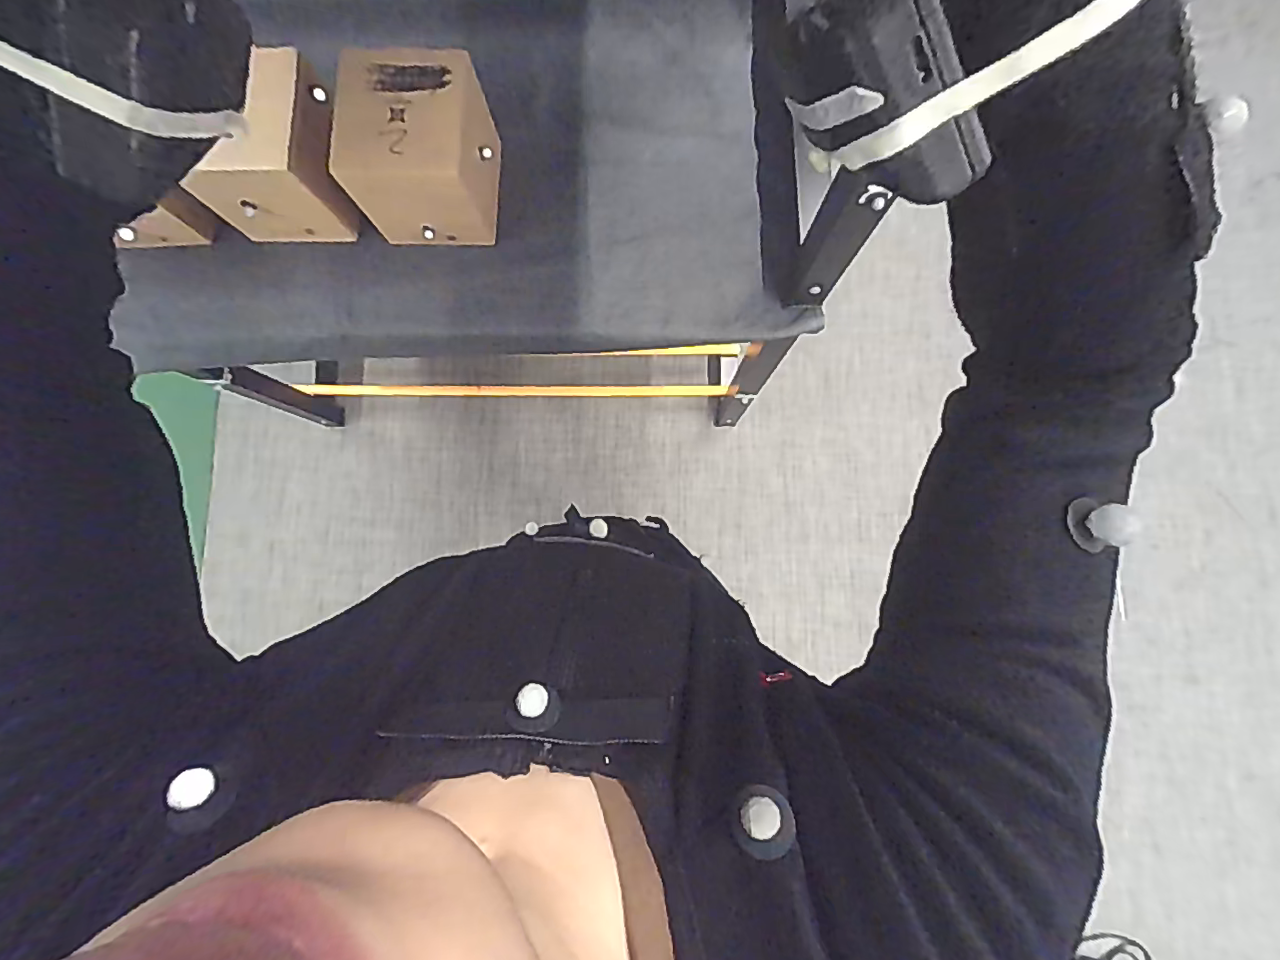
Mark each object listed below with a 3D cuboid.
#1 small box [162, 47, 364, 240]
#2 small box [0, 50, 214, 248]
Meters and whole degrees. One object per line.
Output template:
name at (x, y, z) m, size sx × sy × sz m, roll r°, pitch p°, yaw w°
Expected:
small box at (-0.517, -0.462, 0.766) m, size 0.168 × 0.176 × 0.179 m, roll 0°, pitch 82°, yaw 0°
small box at (-0.744, -0.457, 0.766) m, size 0.168 × 0.176 × 0.179 m, roll -2°, pitch 83°, yaw 1°
